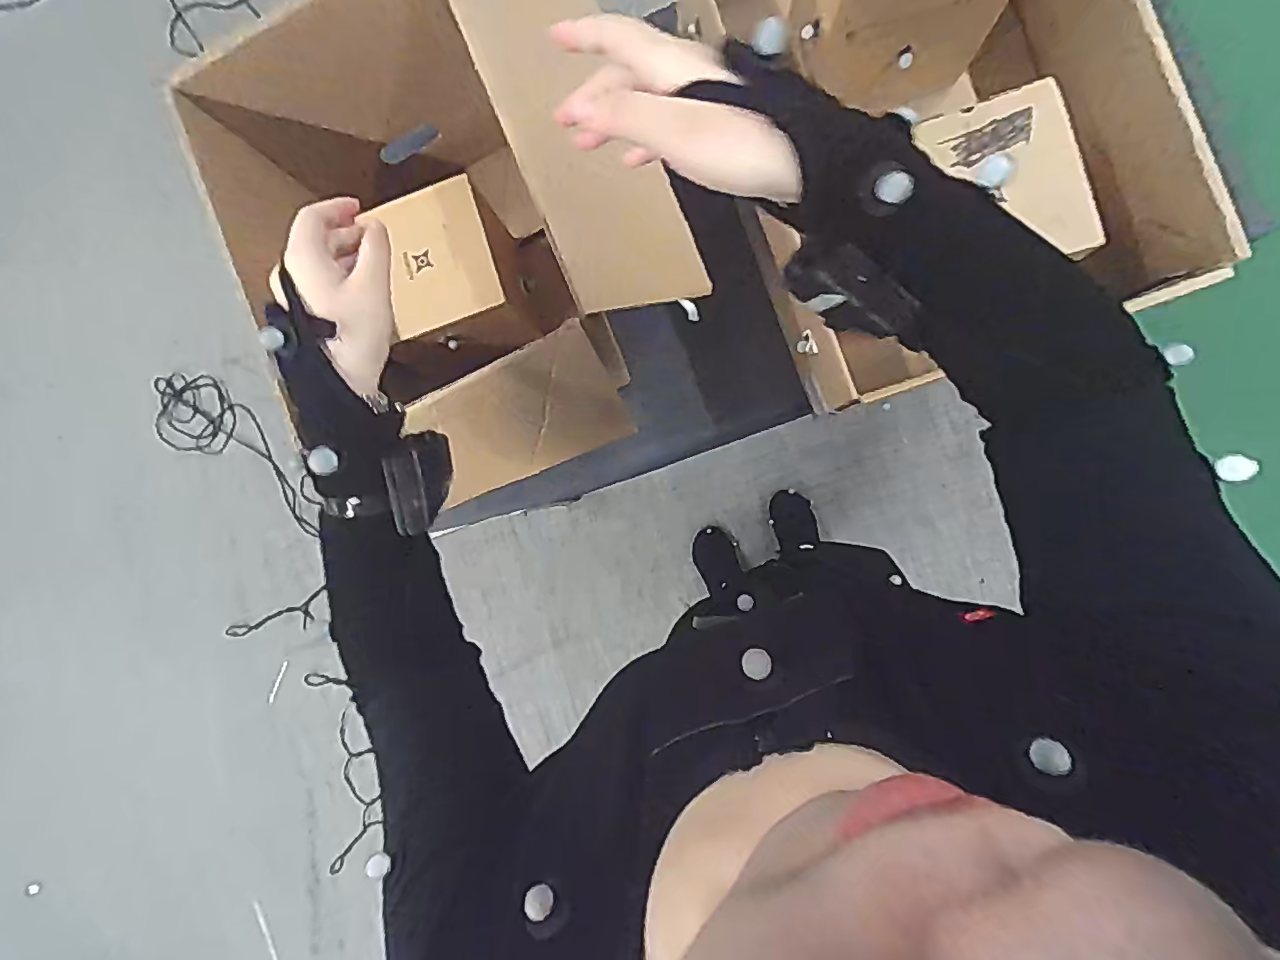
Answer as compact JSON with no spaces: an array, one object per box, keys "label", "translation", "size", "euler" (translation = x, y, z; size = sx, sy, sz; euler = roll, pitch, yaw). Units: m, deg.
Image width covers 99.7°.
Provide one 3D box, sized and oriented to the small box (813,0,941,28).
[{"label":"small box","translation":[0.240,-0.552,0.471],"size":[0.179,0.176,0.168],"euler":[-12,90,6]}]
